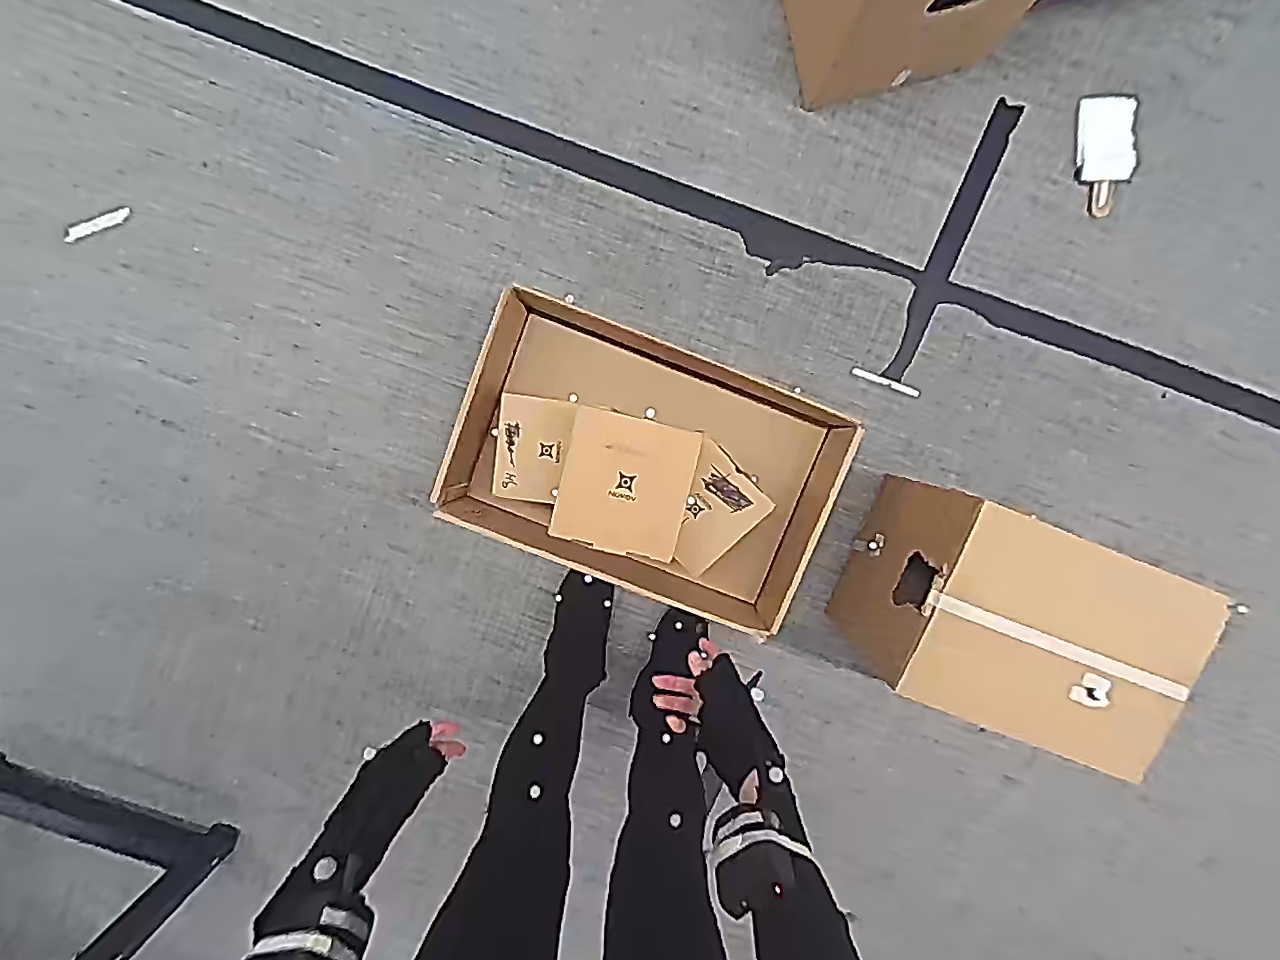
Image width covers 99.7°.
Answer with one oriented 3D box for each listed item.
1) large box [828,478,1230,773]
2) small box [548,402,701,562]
[{"bbox_3d":[0.607,0.214,0.927,0.408,0.320,0.320,20,97,-3],"label":"large box"},{"bbox_3d":[-0.020,-0.004,0.761,0.168,0.176,0.179,13,96,-2],"label":"small box"}]
